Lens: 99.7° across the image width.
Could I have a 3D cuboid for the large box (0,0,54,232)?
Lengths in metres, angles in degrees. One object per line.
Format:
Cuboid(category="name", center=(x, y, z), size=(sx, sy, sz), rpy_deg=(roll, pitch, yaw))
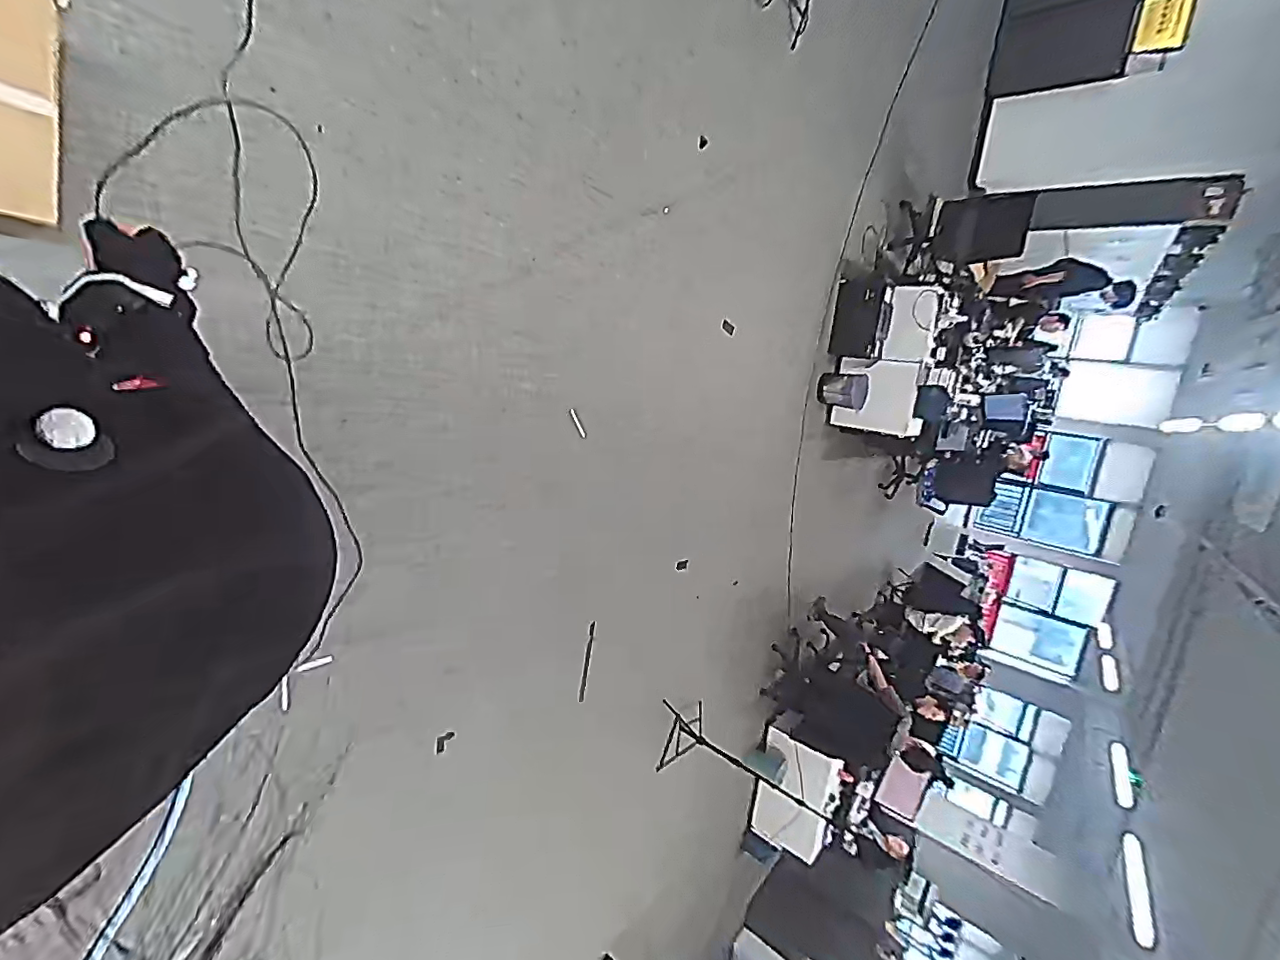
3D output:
Cuboid(category="large box", center=(-1.081, -0.553, 0.702), size=(0.408, 0.320, 0.320), rpy_deg=(-2, 105, -53))
